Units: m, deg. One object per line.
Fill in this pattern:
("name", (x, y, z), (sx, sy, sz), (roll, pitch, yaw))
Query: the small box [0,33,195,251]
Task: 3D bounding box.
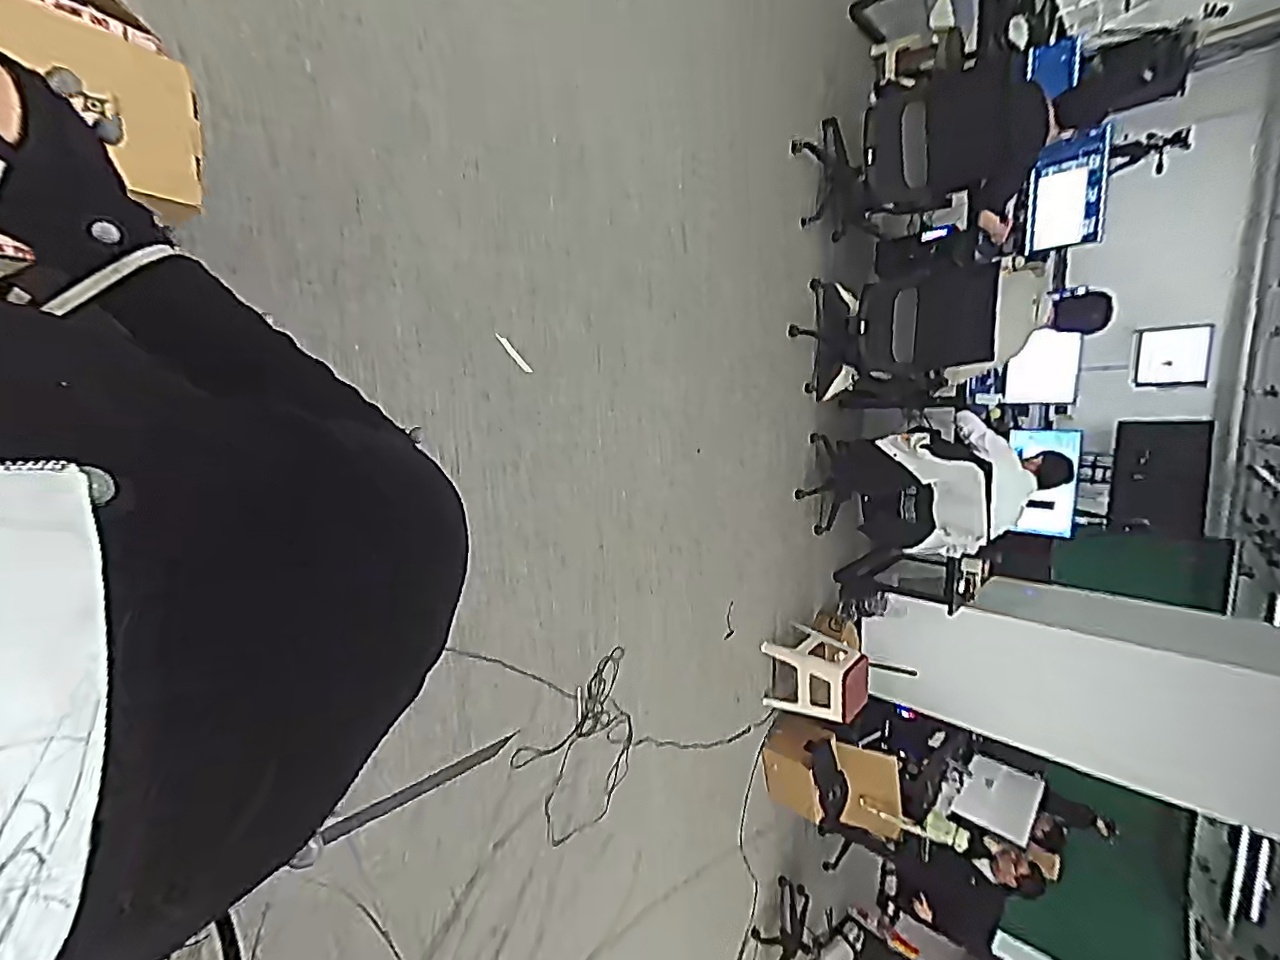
("small box", (-0.686, -0.396, 0.672), (0.179, 0.176, 0.168), (-6, 100, -48))
